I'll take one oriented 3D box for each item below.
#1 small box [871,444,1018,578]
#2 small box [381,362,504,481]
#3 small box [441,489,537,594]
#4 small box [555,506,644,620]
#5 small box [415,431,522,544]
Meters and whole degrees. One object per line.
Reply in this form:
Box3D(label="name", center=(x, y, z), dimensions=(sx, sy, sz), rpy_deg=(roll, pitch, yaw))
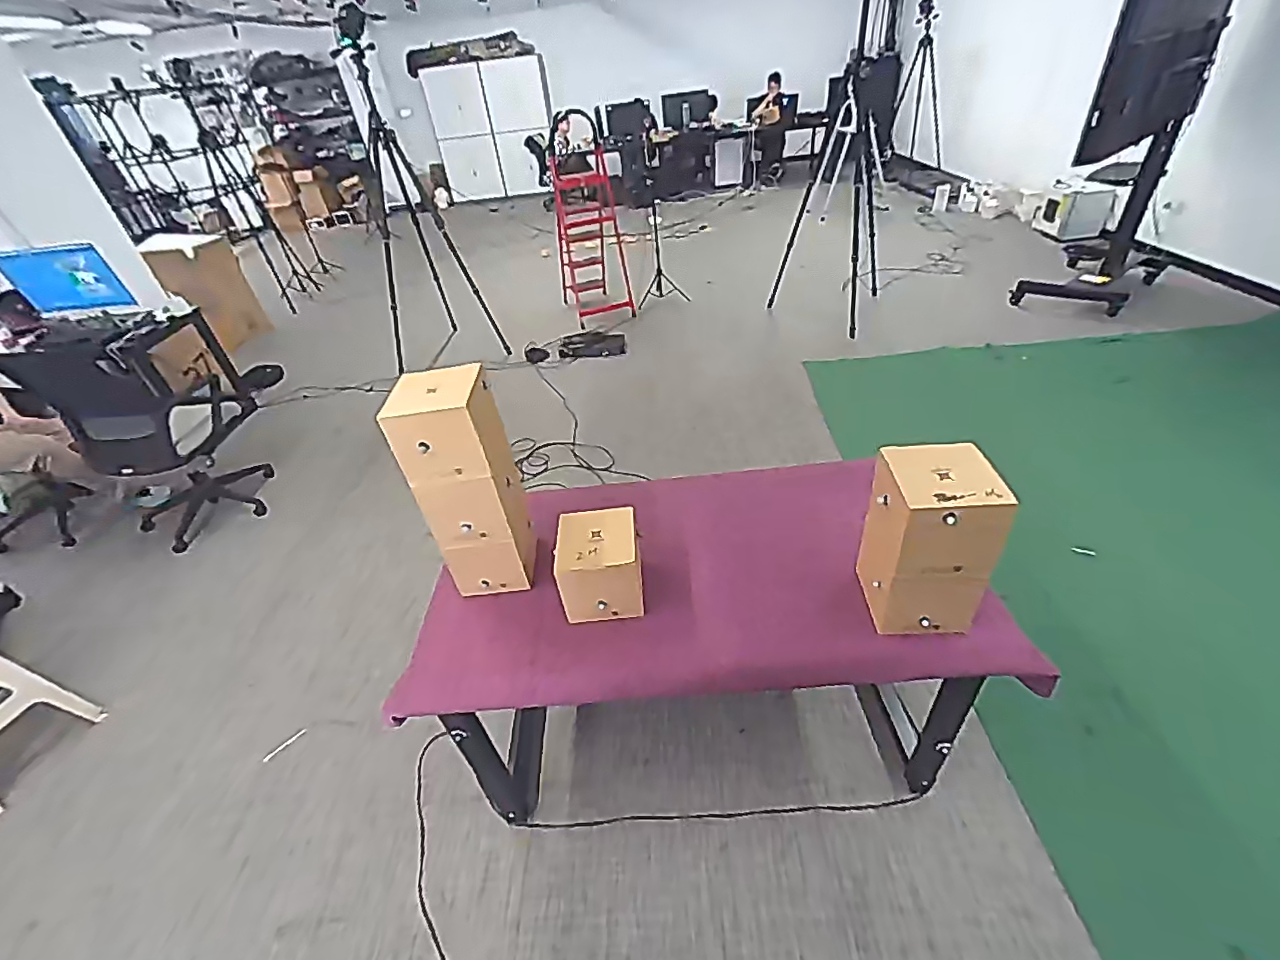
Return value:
Box3D(label="small box", center=(0.526, 0.055, 0.968), dimensions=(0.168, 0.176, 0.179), rpy_deg=(-4, 37, 8))
Box3D(label="small box", center=(-0.379, -0.111, 1.077), dimensions=(0.168, 0.176, 0.179), rpy_deg=(-8, 38, 1))
Box3D(label="small box", center=(-0.344, 0.144, 1.276), dimensions=(0.168, 0.176, 0.179), rpy_deg=(-7, 39, 2))
Box3D(label="small box", center=(-0.082, 0.181, 1.183), dimensions=(0.168, 0.176, 0.179), rpy_deg=(-6, 38, 3))
Box3D(label="small box", center=(-0.361, 0.016, 1.177), dimensions=(0.168, 0.176, 0.179), rpy_deg=(-8, 38, 1))
